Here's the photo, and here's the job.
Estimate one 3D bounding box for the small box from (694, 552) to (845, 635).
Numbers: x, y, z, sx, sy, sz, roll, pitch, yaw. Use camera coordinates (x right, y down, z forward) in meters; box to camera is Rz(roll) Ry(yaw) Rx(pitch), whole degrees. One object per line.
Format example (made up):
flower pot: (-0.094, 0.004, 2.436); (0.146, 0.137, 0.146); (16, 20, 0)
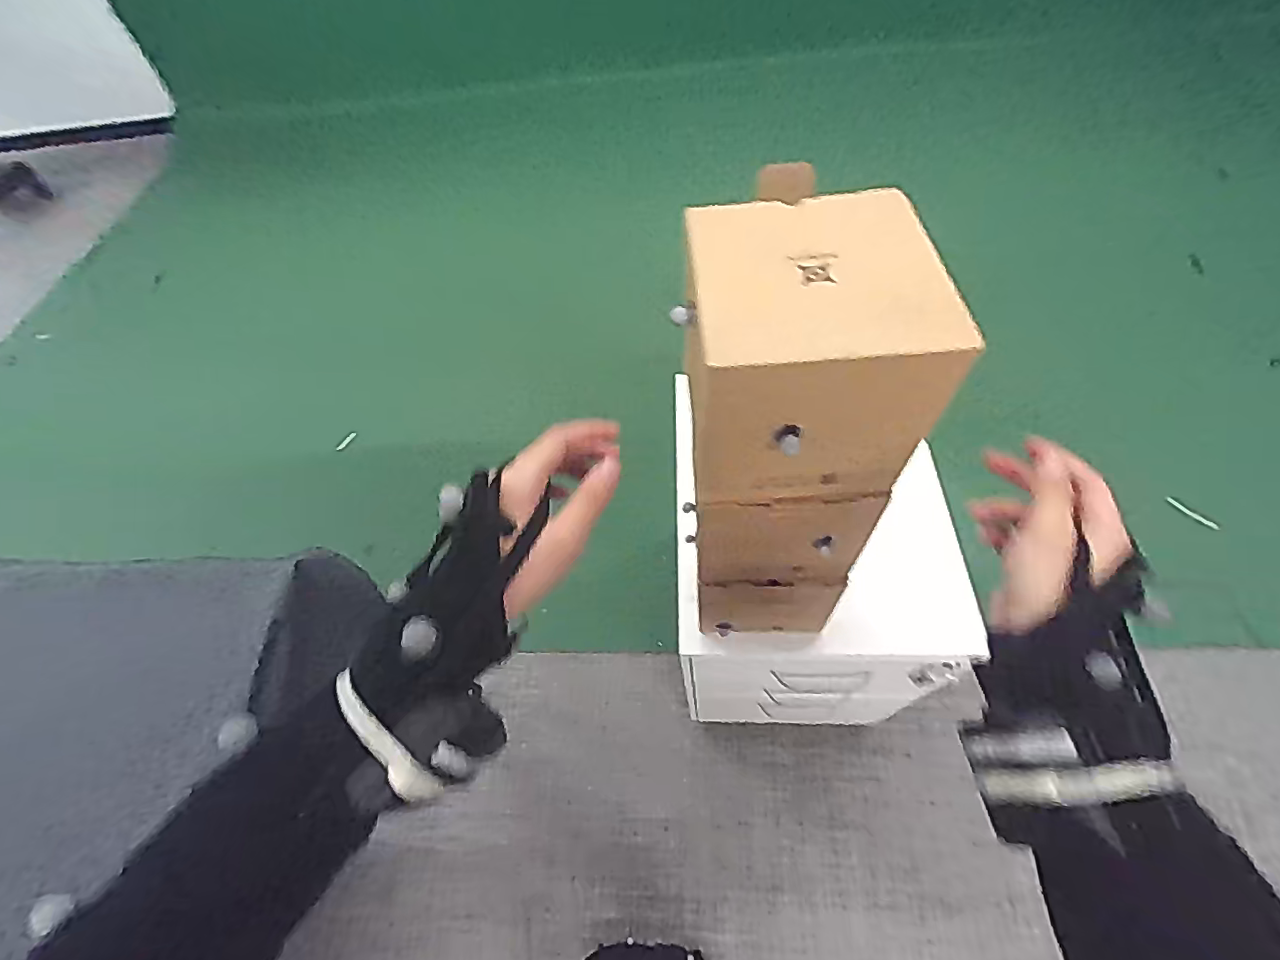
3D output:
small box: (0.154, 0.094, 0.702); (0.168, 0.176, 0.179); (0, 56, 5)

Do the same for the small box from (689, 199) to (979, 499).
small box: (0.128, -0.094, 0.439); (0.168, 0.176, 0.179); (-3, 56, 2)

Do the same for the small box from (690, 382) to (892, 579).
small box: (0.139, -0.002, 0.572); (0.168, 0.176, 0.179); (-2, 56, 3)
